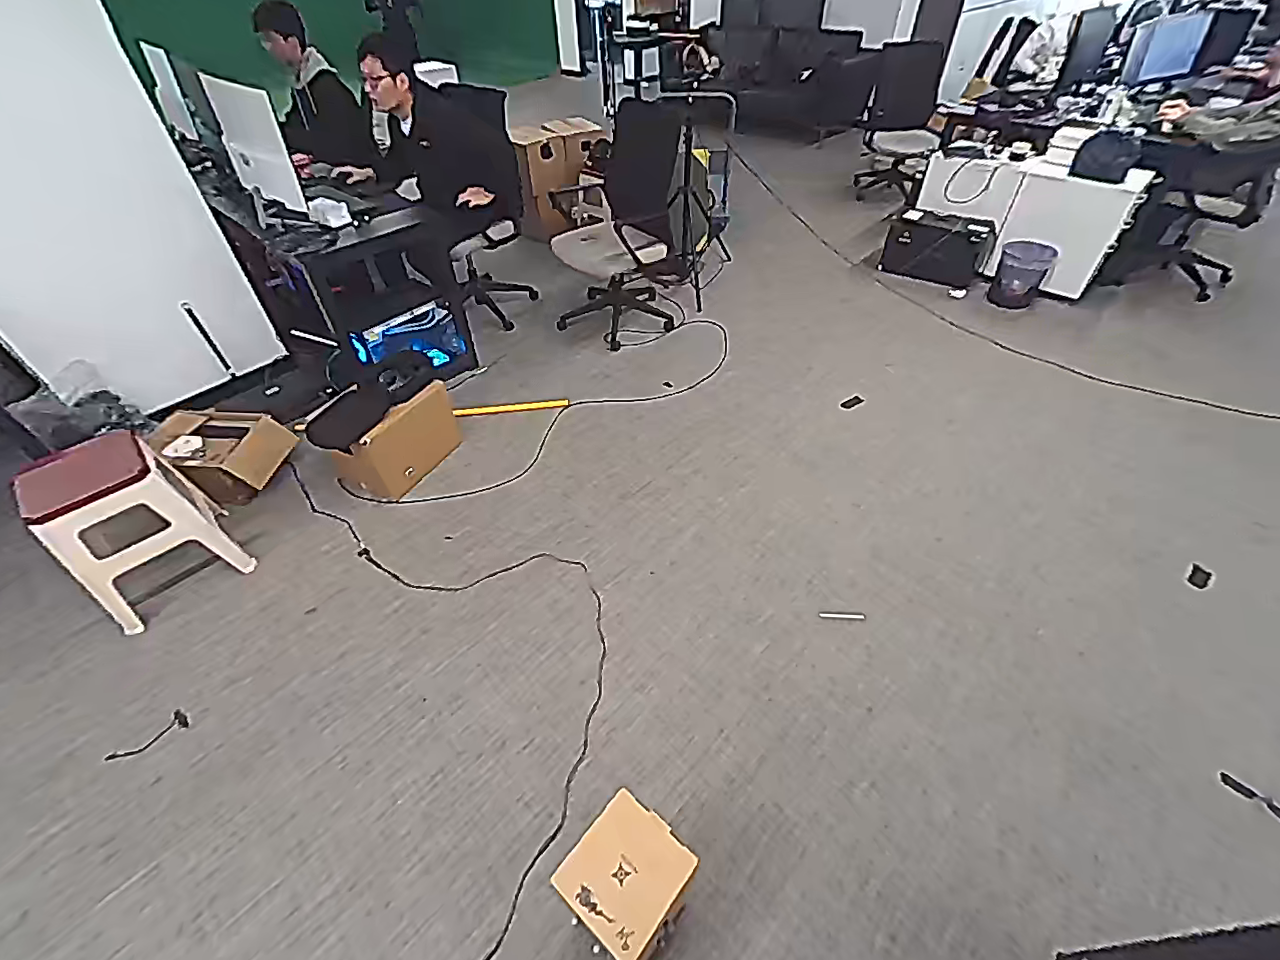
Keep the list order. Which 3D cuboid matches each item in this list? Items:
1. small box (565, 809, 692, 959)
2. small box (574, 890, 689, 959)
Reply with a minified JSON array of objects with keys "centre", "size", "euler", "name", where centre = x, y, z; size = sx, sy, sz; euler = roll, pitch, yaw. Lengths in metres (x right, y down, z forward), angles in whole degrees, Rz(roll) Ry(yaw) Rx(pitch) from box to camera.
[{"centre":[-0.018,0.777,1.023],"size":[0.168,0.176,0.179],"euler":[28,50,25],"name":"small box"},{"centre":[-0.017,0.897,1.132],"size":[0.168,0.176,0.179],"euler":[30,53,28],"name":"small box"}]
